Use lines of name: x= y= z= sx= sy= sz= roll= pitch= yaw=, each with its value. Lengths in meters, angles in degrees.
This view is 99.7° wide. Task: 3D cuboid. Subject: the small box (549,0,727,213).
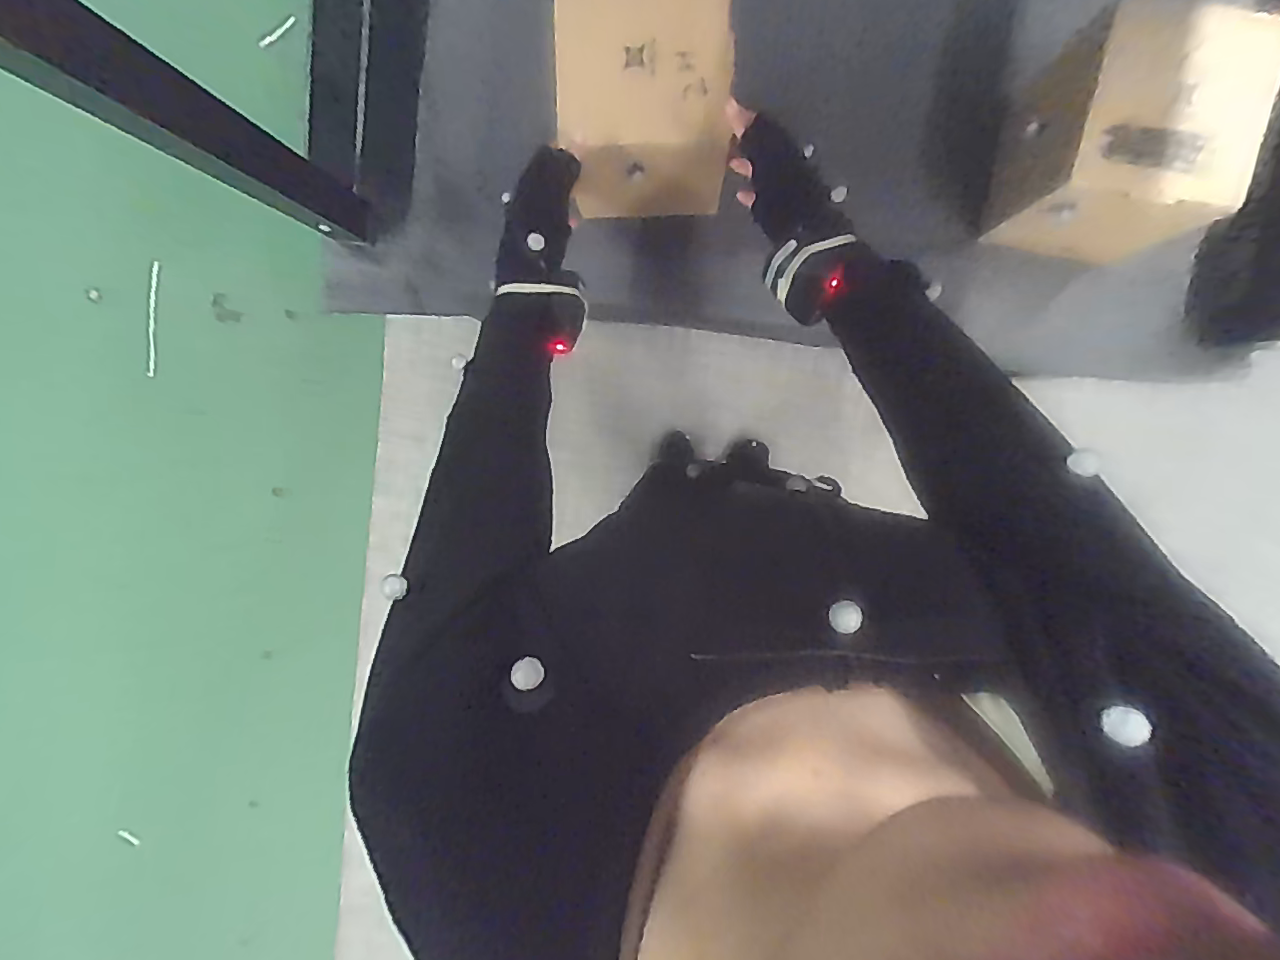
small box: x=0.002 y=-0.418 z=0.611 sx=0.179 sy=0.176 sz=0.168 roll=0 pitch=95 yaw=2
